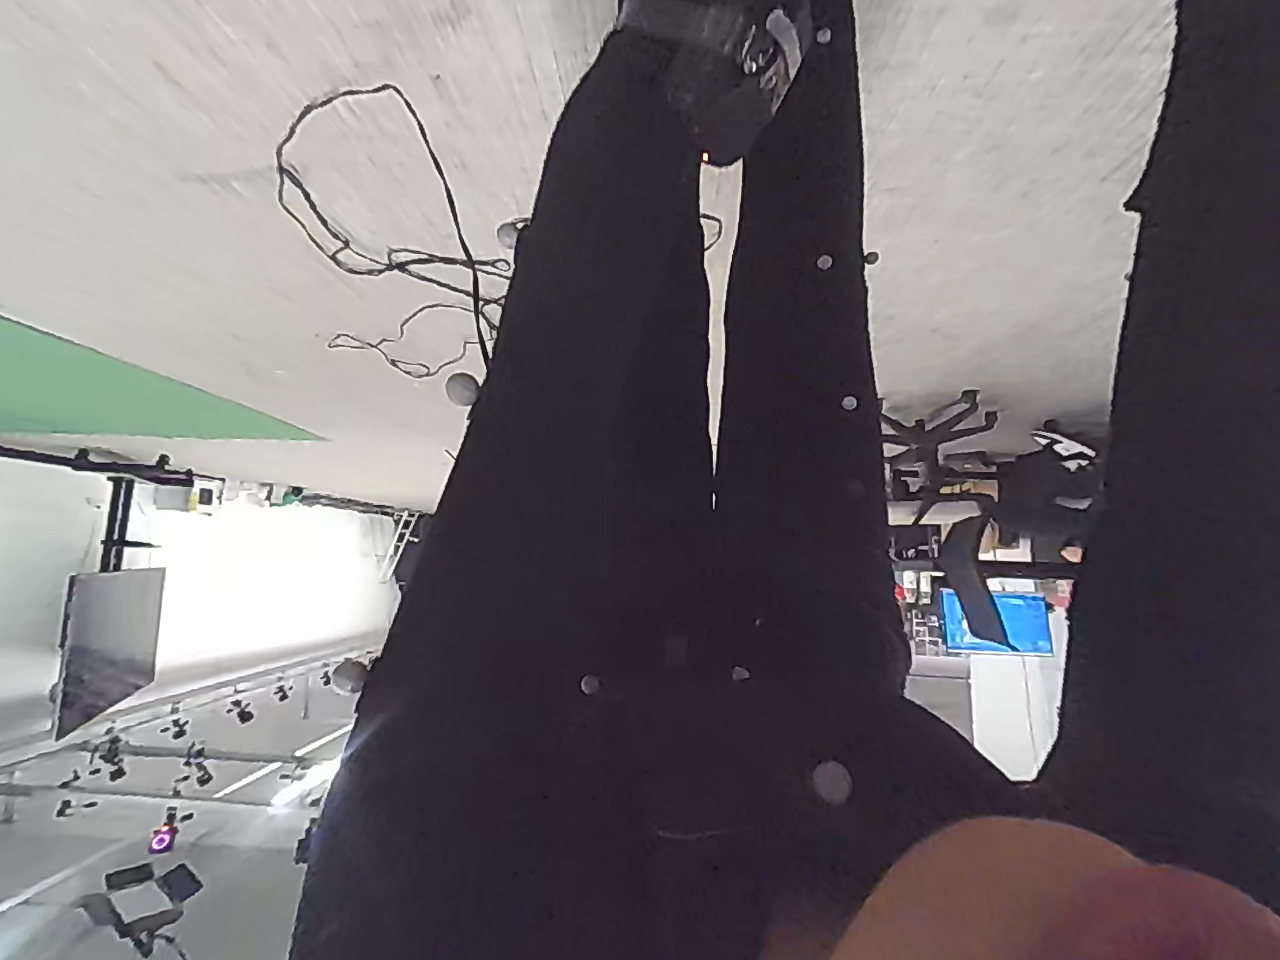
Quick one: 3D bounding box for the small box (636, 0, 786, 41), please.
[{"bbox_3d":[0.075,-0.610,0.557,0.168,0.176,0.179,-7,174,-2],"label":"small box"}]
